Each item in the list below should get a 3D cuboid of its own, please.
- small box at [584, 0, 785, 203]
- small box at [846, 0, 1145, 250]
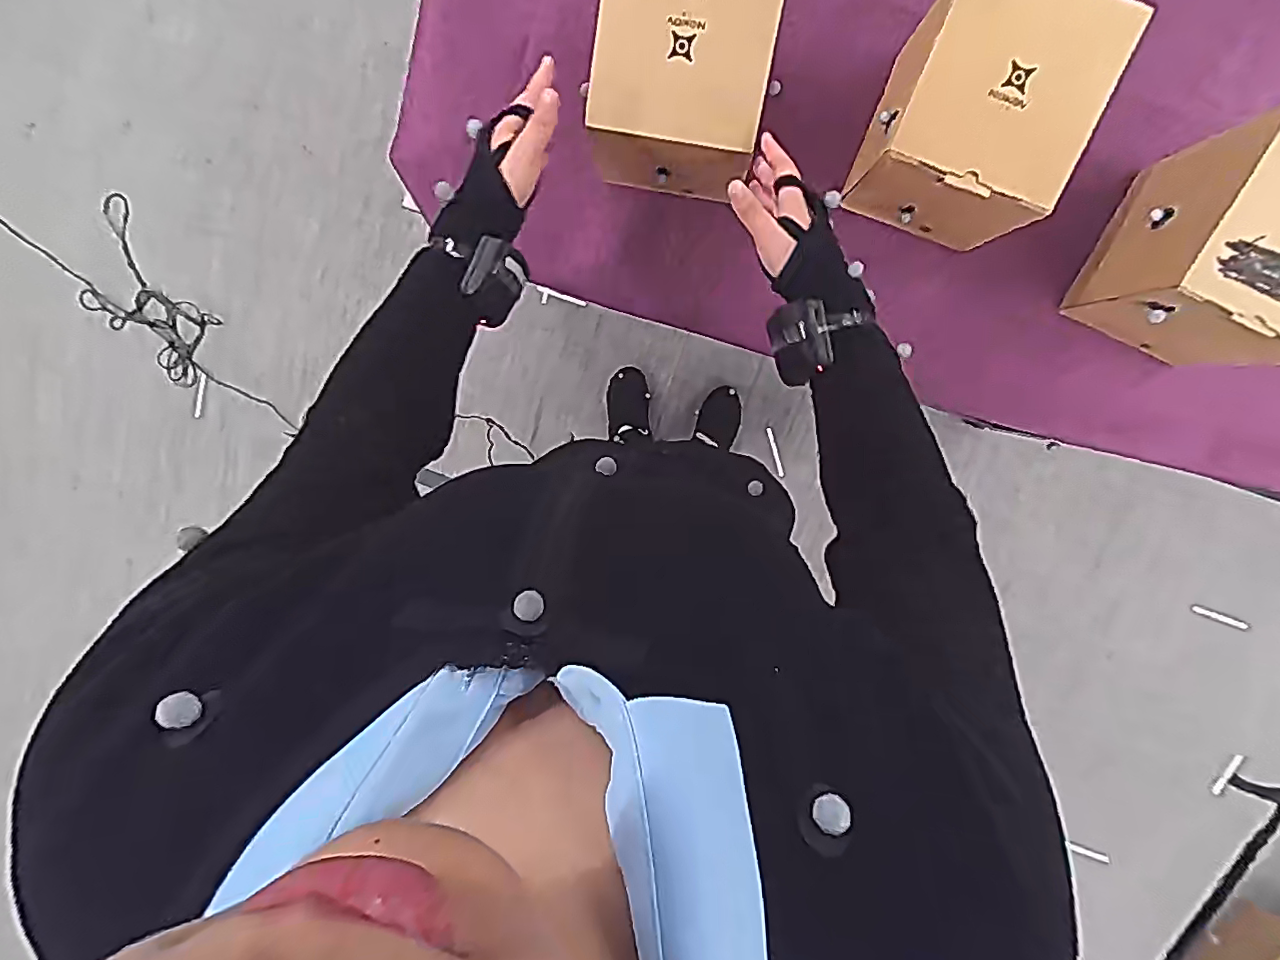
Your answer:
[{"bbox_3d":[0.048,-0.418,0.574,0.168,0.176,0.179,11,102,1],"label":"small box"},{"bbox_3d":[0.341,-0.369,0.565,0.168,0.176,0.179,21,103,0],"label":"small box"}]
